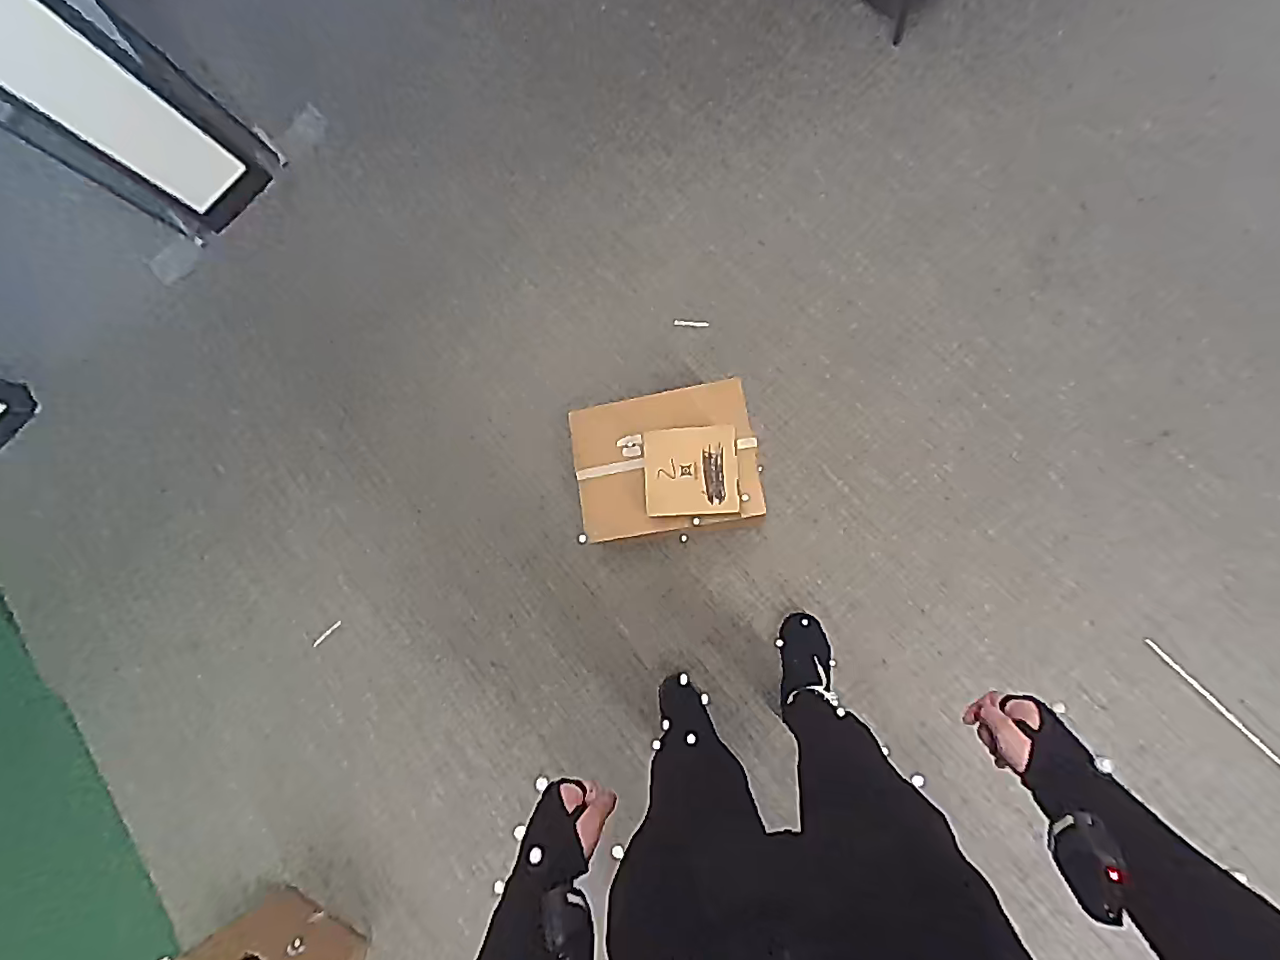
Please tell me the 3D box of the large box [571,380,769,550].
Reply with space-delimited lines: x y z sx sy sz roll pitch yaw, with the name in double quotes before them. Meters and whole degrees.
"large box" 0.085 -0.014 1.331 0.408 0.320 0.320 -11 78 11
